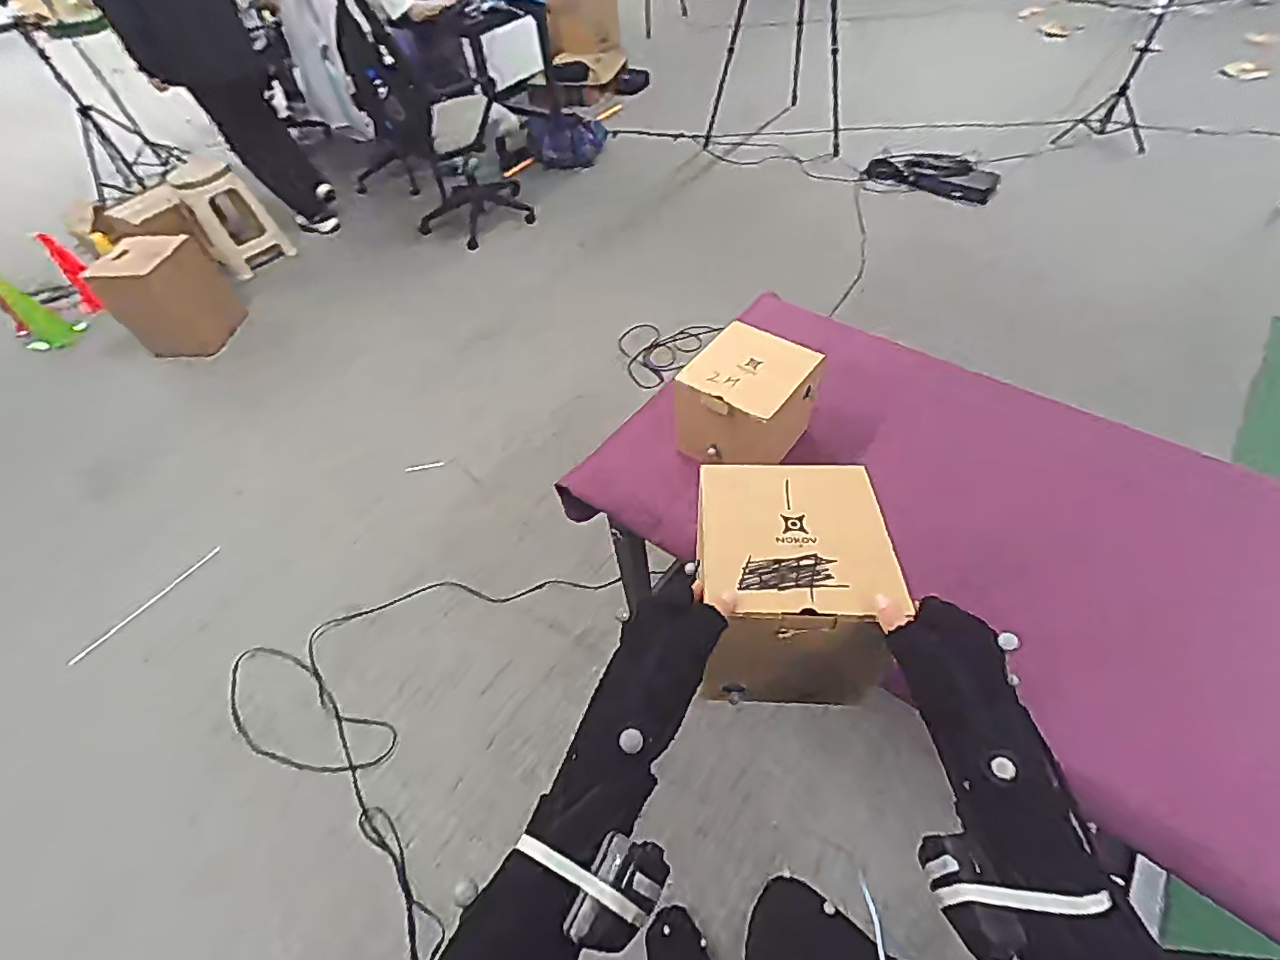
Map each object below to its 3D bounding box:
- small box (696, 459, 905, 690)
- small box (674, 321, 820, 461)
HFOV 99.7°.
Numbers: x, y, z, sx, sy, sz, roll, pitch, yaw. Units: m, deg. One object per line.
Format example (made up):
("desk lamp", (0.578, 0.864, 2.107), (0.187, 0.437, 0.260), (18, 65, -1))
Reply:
("small box", (0.143, 0.098, 0.552), (0.168, 0.176, 0.179), (0, 45, 4))
("small box", (0.170, -0.127, 0.900), (0.168, 0.176, 0.179), (30, 61, 25))
